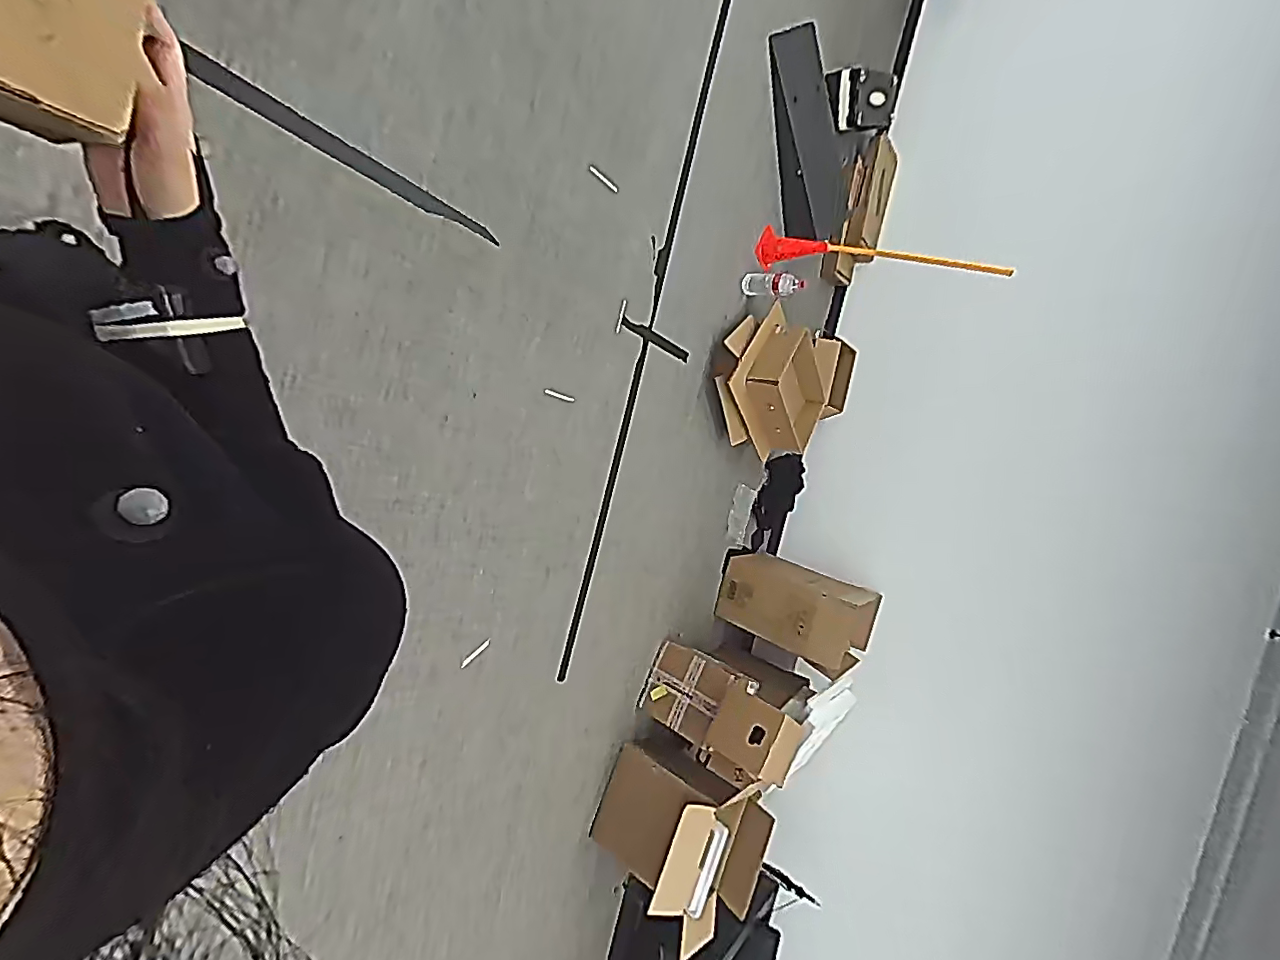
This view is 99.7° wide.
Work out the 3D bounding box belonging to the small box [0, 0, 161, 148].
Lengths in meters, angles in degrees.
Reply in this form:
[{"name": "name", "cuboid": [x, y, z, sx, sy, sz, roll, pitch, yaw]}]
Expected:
[{"name": "small box", "cuboid": [-0.348, -0.287, 0.251, 0.168, 0.176, 0.179, 5, 106, -56]}]
